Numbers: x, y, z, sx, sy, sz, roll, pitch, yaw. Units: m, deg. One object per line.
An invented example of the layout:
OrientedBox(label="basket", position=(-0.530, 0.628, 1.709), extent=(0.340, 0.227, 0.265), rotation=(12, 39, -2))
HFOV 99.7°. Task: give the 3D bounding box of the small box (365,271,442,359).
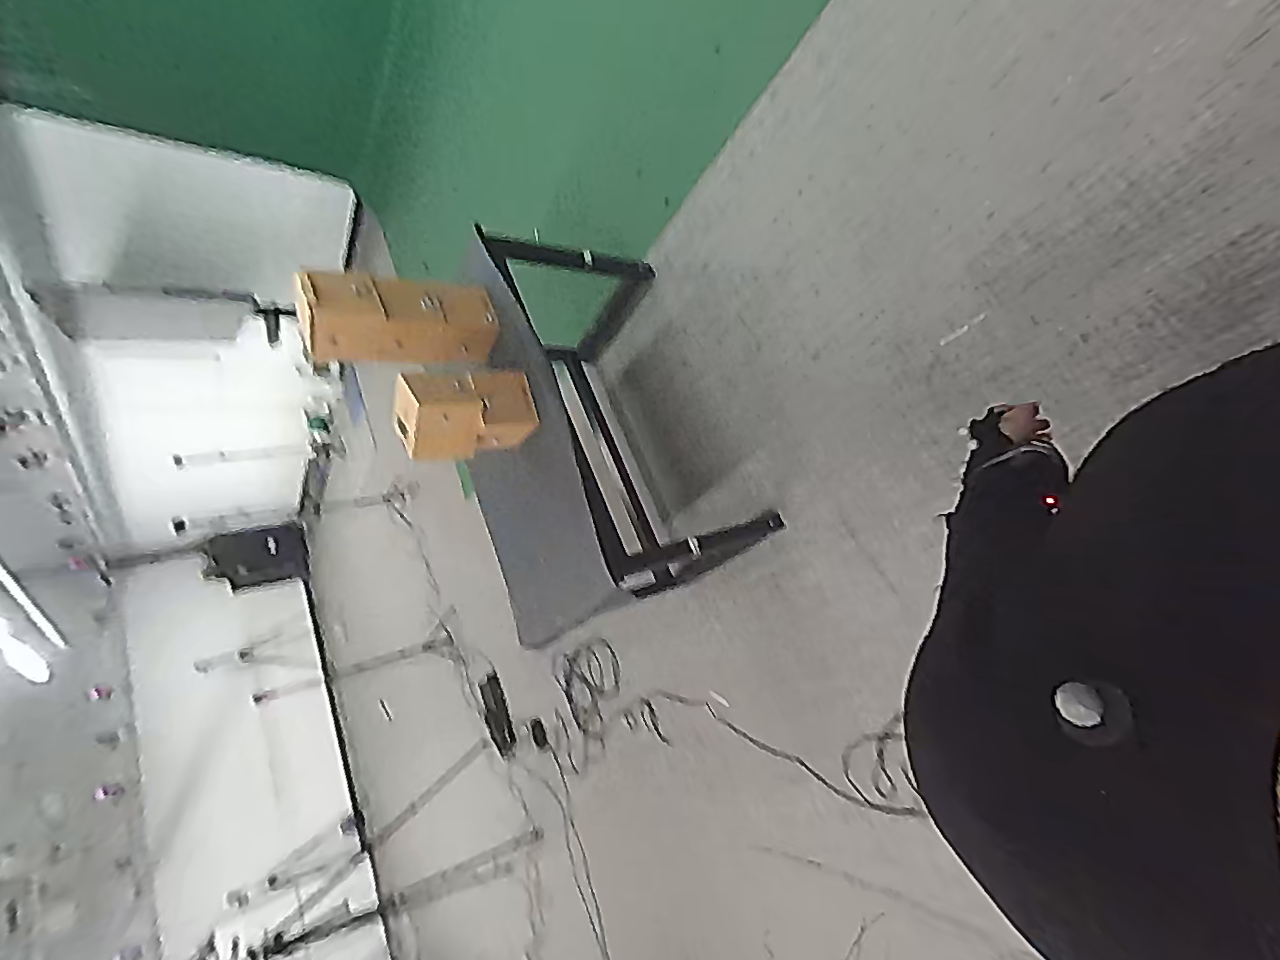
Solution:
OrientedBox(label="small box", position=(-0.680, -0.463, 1.534), extent=(0.179, 0.176, 0.168), rotation=(-47, 64, 44))

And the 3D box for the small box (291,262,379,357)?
OrientedBox(label="small box", position=(-0.803, -0.443, 1.424), extent=(0.168, 0.176, 0.179), rotation=(59, 137, 20))

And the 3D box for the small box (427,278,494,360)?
OrientedBox(label="small box", position=(-0.559, -0.486, 1.639), extent=(0.179, 0.176, 0.168), rotation=(-43, 66, 47))

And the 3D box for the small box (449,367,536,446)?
OrientedBox(label="small box", position=(-0.418, -0.207, 1.534), extent=(0.179, 0.176, 0.168), rotation=(-30, 75, 50))
